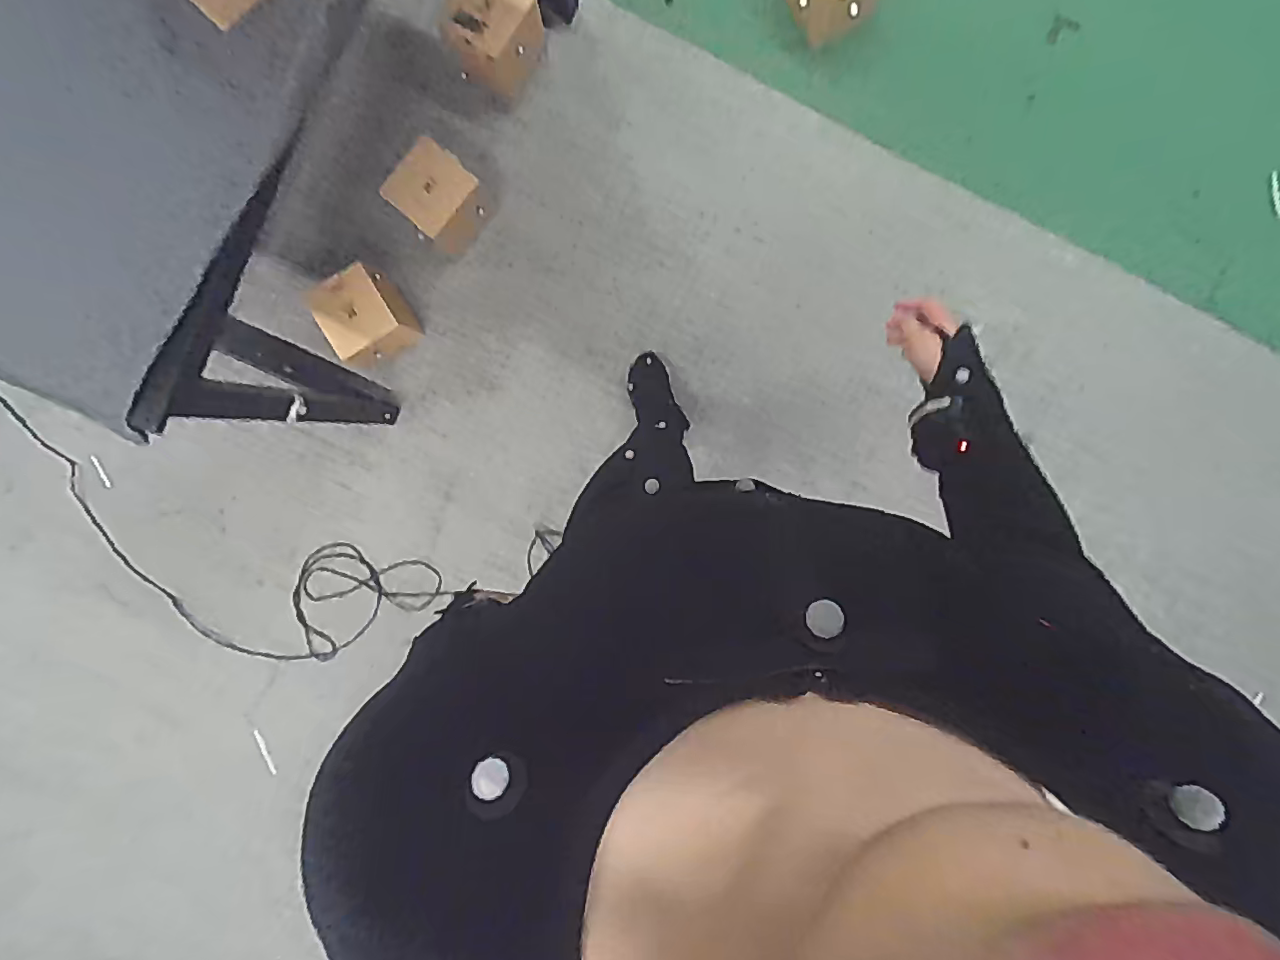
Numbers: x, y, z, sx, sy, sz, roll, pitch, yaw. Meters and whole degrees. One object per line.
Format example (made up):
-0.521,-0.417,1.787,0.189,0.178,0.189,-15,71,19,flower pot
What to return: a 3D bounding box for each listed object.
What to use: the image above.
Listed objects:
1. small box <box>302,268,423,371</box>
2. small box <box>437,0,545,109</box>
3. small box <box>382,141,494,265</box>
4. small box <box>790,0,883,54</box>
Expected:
-0.674,-0.385,1.338,0.168,0.176,0.179,-31,93,2,small box
-0.343,-1.041,1.288,0.168,0.176,0.179,31,93,-3,small box
-0.479,-0.663,1.317,0.168,0.176,0.179,40,95,-2,small box
0.475,-1.176,1.285,0.179,0.176,0.168,-30,93,2,small box
